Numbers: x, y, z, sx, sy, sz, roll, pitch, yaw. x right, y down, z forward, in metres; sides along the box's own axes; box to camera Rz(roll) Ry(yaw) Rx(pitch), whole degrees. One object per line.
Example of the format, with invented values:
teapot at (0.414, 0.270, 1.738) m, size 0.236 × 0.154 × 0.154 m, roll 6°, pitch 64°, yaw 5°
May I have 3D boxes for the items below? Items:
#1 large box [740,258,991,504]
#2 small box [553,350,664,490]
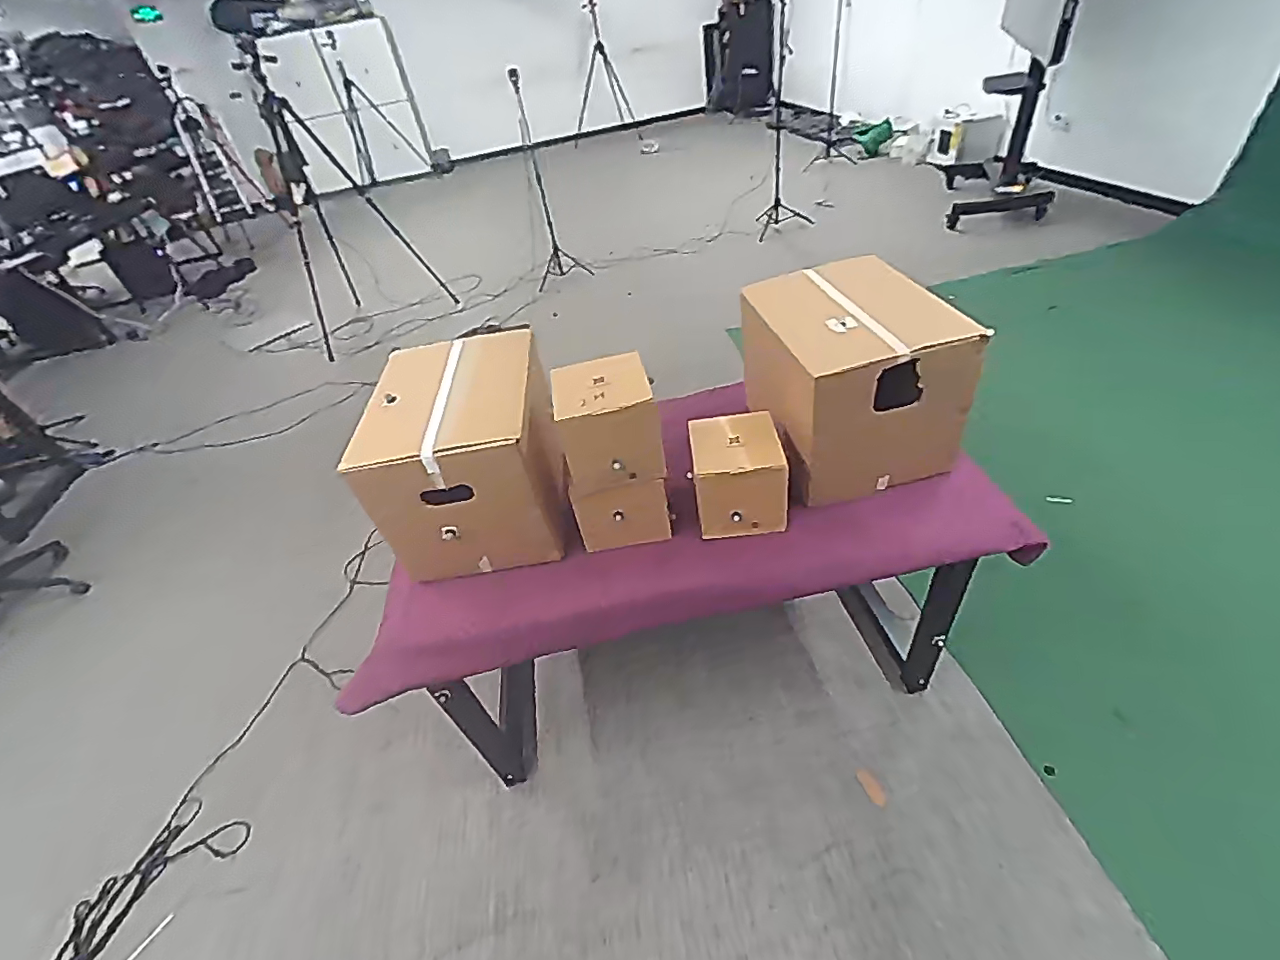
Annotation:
large box at (0.427, -0.218, 1.142) m, size 0.320 × 0.320 × 0.408 m, roll -15°, pitch 42°, yaw -1°
small box at (-0.058, -0.109, 0.981) m, size 0.168 × 0.176 × 0.179 m, roll -13°, pitch 41°, yaw -1°
